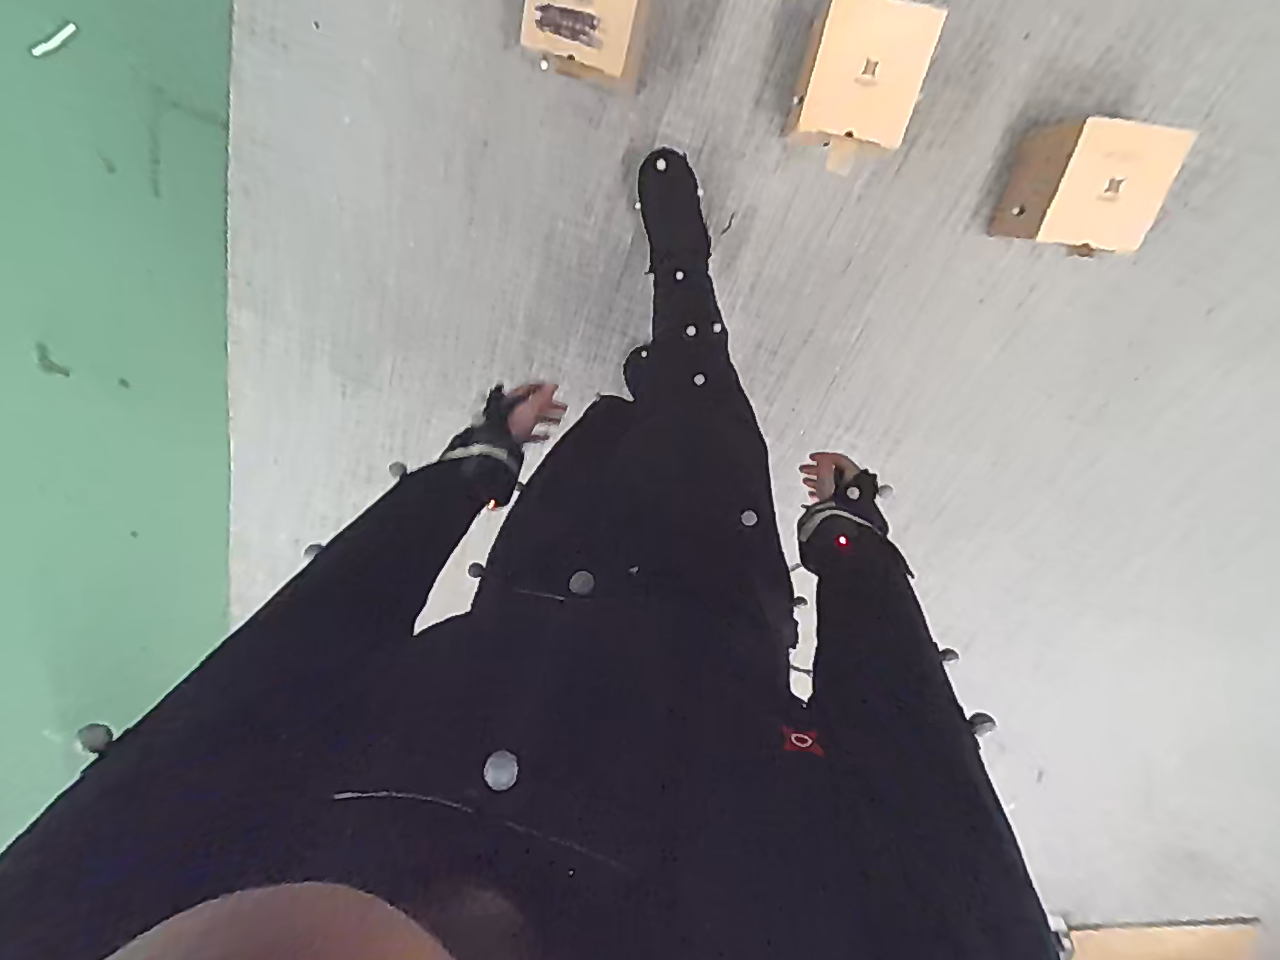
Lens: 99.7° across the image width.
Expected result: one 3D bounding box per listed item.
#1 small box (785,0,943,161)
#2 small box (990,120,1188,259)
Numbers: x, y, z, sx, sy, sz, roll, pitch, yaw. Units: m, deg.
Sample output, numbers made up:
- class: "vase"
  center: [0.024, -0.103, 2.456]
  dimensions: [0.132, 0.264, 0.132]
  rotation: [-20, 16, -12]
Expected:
- class: "small box"
  center: [0.347, -0.640, 0.881]
  dimensions: [0.168, 0.176, 0.179]
  rotation: [12, 117, 0]
- class: "small box"
  center: [0.737, -0.485, 0.917]
  dimensions: [0.168, 0.176, 0.179]
  rotation: [8, 116, 1]
